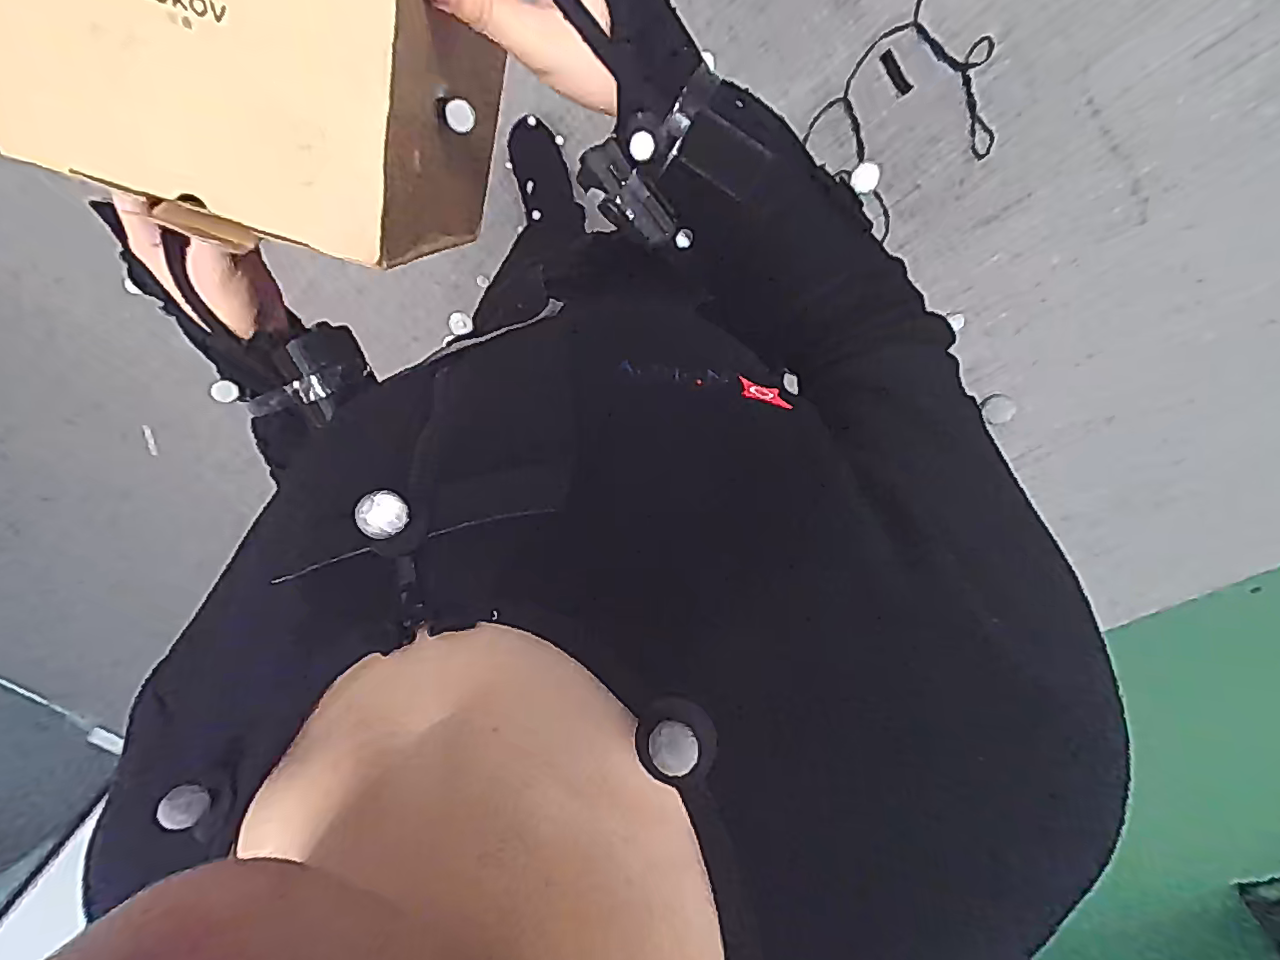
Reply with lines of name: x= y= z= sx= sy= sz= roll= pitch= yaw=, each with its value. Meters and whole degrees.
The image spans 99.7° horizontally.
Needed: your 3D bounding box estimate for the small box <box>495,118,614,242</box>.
small box: x=-0.173 y=-0.595 z=1.080 sx=0.179 sy=0.176 sz=0.168 roll=25 pitch=121 yaw=-2
